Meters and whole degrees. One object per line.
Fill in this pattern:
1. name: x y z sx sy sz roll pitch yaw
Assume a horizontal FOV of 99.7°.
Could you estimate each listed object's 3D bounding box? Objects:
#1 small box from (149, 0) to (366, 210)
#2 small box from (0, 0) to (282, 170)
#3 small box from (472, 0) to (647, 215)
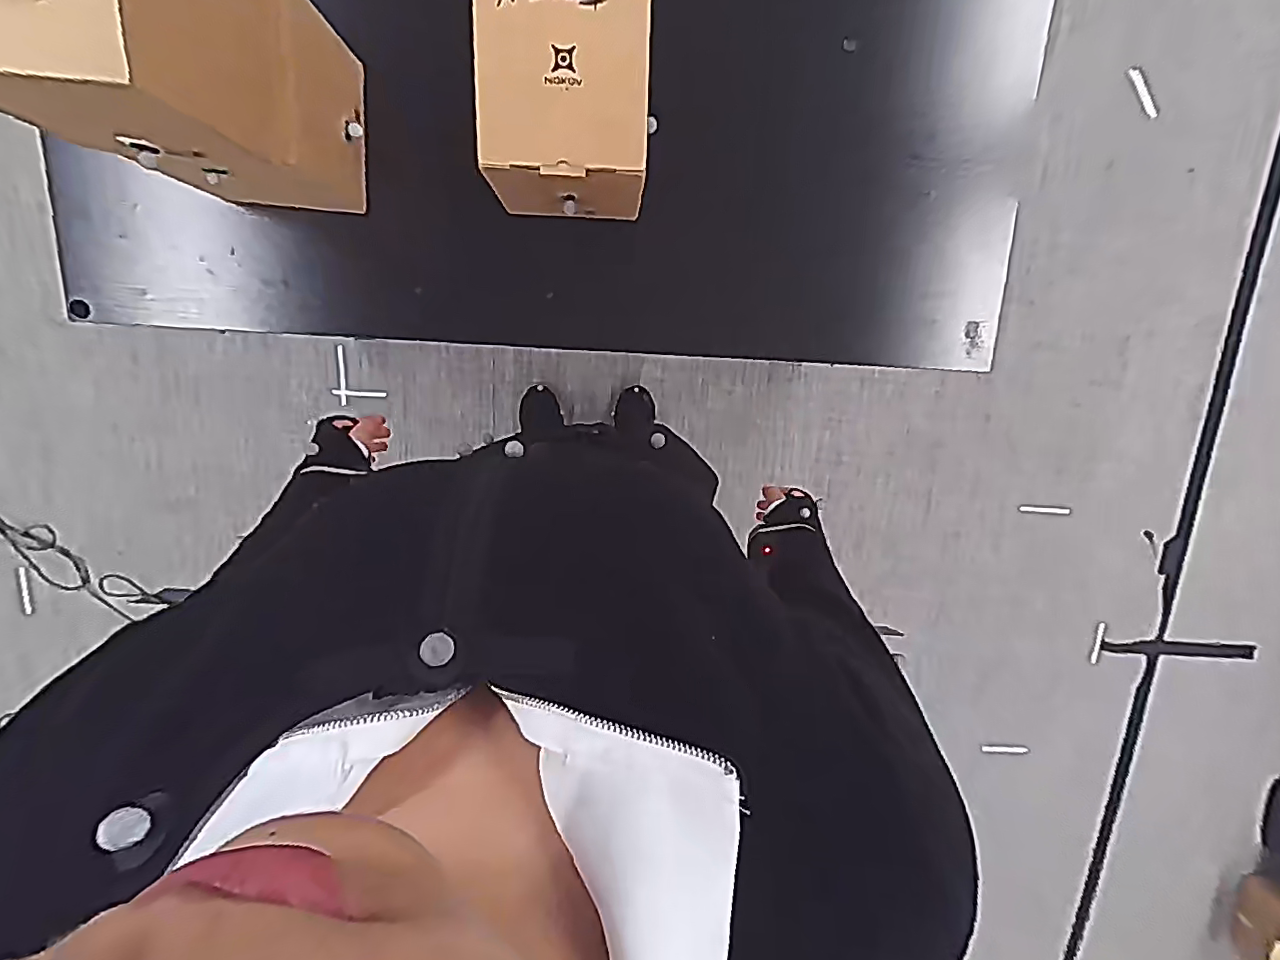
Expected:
1. small box: -0.416 -0.402 0.573 0.179 0.176 0.168 3 101 -5
2. small box: -0.410 -0.368 0.414 0.168 0.176 0.179 3 102 -2
3. small box: -0.080 -0.405 0.593 0.168 0.176 0.179 1 101 -3
